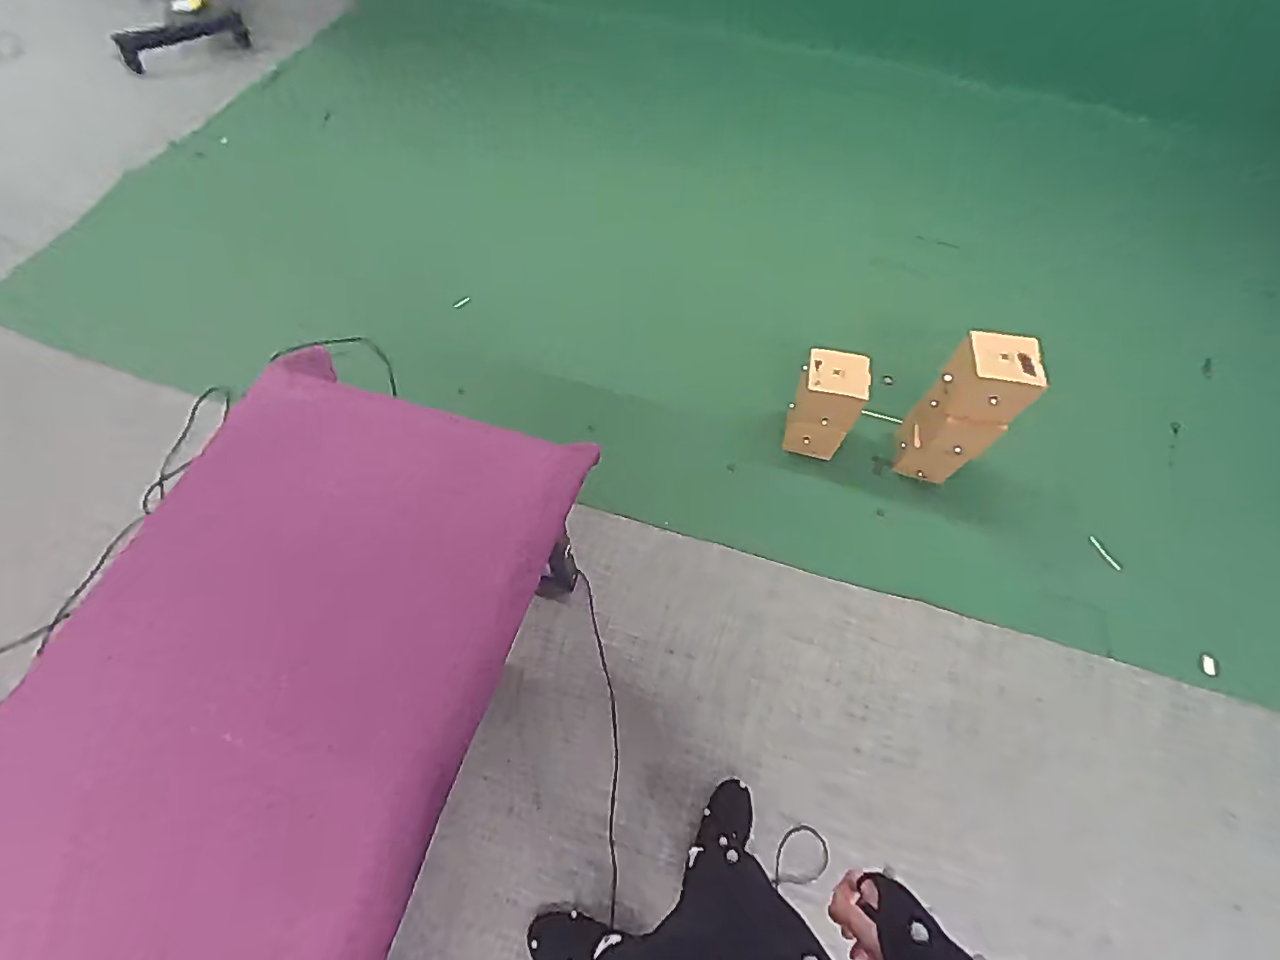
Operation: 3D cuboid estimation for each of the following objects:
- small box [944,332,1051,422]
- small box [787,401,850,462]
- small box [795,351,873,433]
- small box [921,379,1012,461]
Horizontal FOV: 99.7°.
[{"bbox_3d":[0.962,-0.275,1.471,0.179,0.176,0.168,9,61,5],"label":"small box"},{"bbox_3d":[0.593,-0.182,1.795,0.168,0.176,0.179,14,61,8],"label":"small box"},{"bbox_3d":[0.590,-0.264,1.653,0.179,0.176,0.168,12,61,6],"label":"small box"},{"bbox_3d":[0.960,-0.180,1.607,0.168,0.176,0.179,7,62,4],"label":"small box"}]
